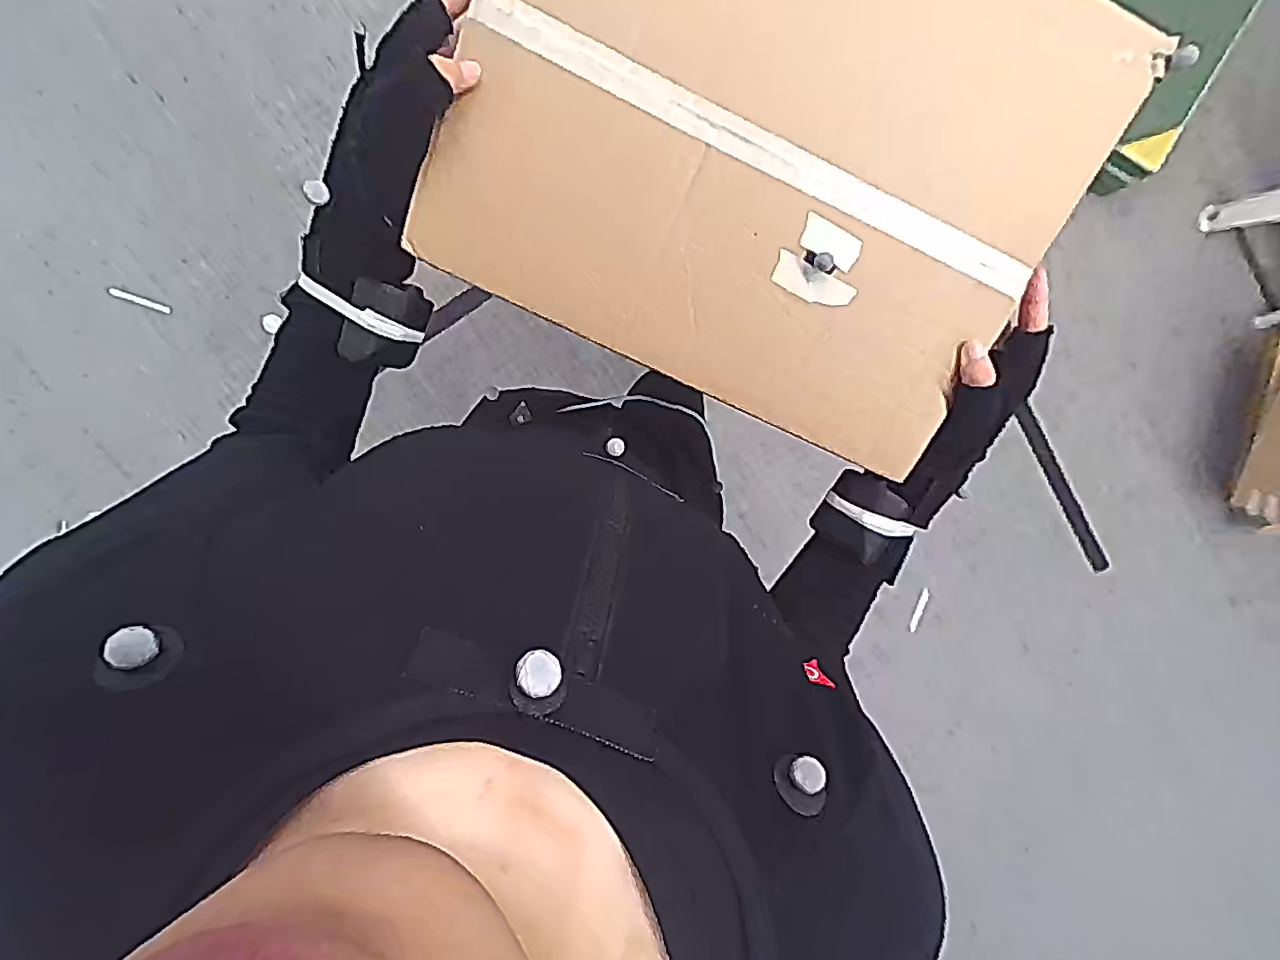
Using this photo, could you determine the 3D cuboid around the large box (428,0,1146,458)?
[{"bbox_3d":[0.088,-0.268,0.510,0.408,0.320,0.320,24,107,-7],"label":"large box"}]
